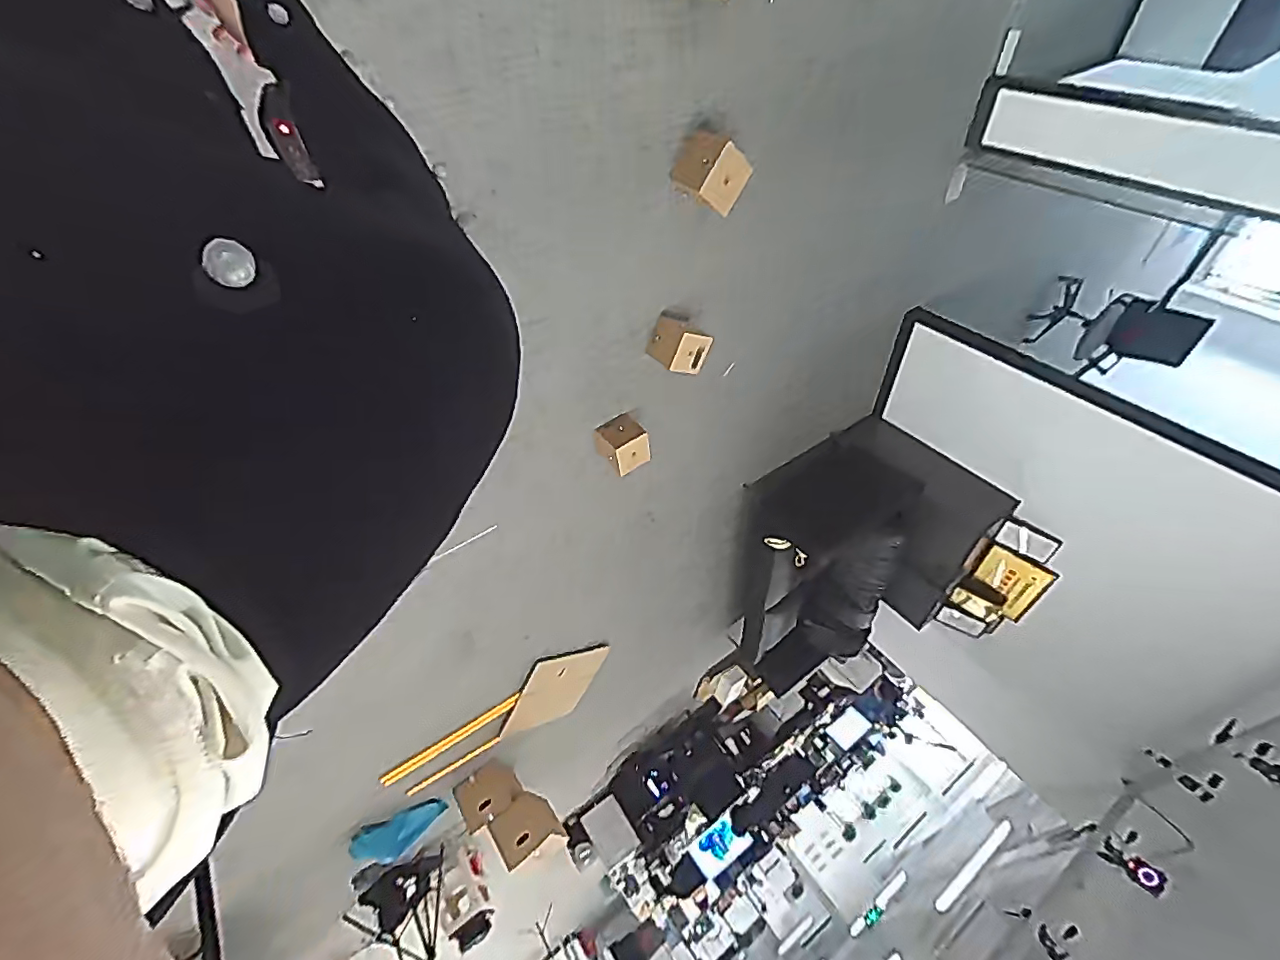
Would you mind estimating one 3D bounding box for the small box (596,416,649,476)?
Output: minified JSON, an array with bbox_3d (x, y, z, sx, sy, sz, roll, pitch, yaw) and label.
[{"bbox_3d":[-0.078,-0.158,2.382,0.168,0.176,0.179,-31,143,-18],"label":"small box"}]
